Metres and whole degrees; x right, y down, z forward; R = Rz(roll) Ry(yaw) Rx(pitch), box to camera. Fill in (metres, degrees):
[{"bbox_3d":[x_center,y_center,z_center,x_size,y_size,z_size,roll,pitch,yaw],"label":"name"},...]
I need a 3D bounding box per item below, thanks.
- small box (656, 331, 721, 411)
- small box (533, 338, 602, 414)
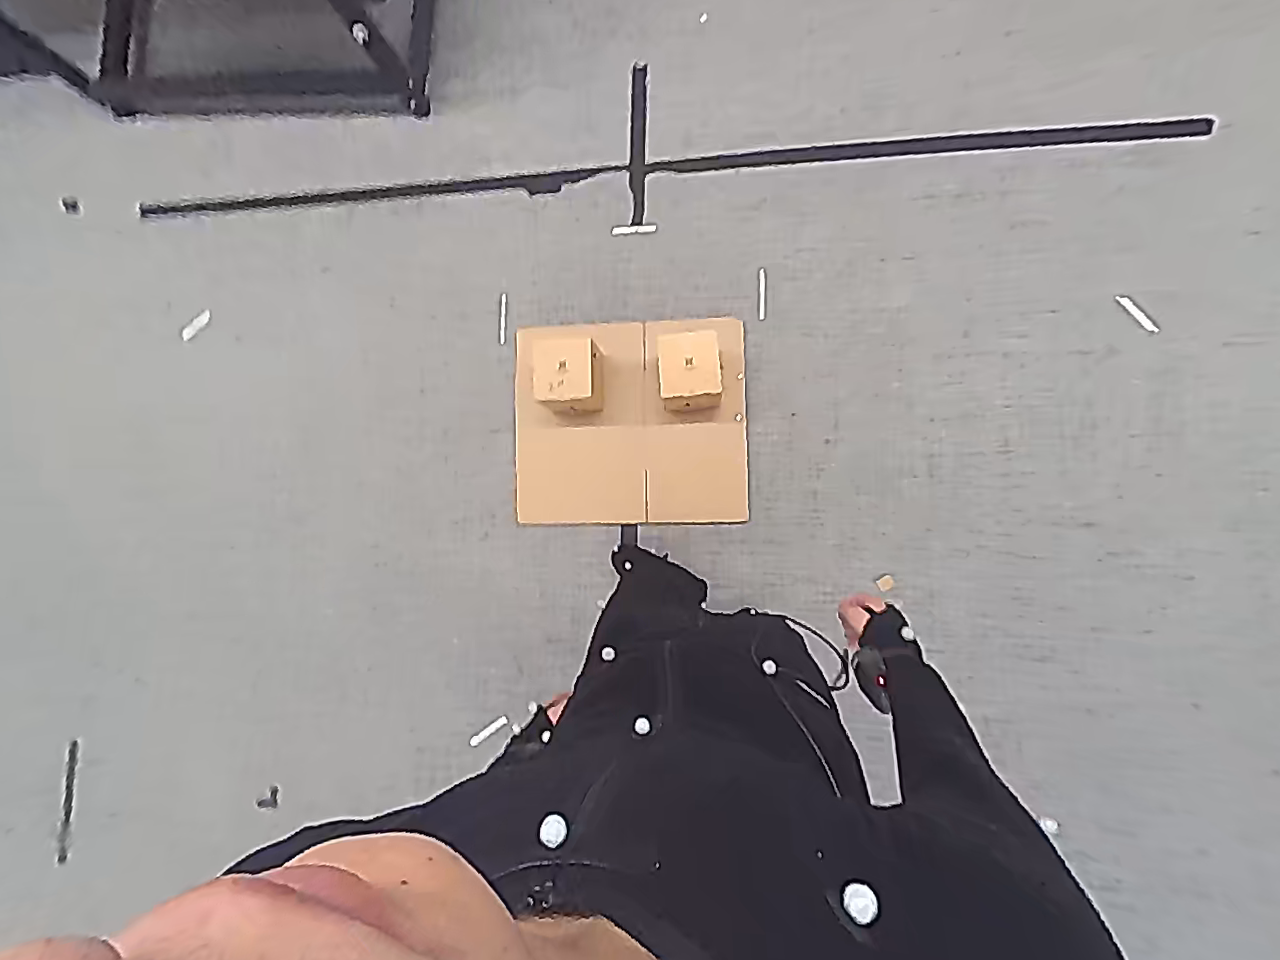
[{"bbox_3d":[0.137,-0.302,1.529,0.168,0.176,0.179,-5,86,7],"label":"small box"},{"bbox_3d":[-0.206,-0.297,1.564,0.168,0.176,0.179,-2,86,8],"label":"small box"}]
